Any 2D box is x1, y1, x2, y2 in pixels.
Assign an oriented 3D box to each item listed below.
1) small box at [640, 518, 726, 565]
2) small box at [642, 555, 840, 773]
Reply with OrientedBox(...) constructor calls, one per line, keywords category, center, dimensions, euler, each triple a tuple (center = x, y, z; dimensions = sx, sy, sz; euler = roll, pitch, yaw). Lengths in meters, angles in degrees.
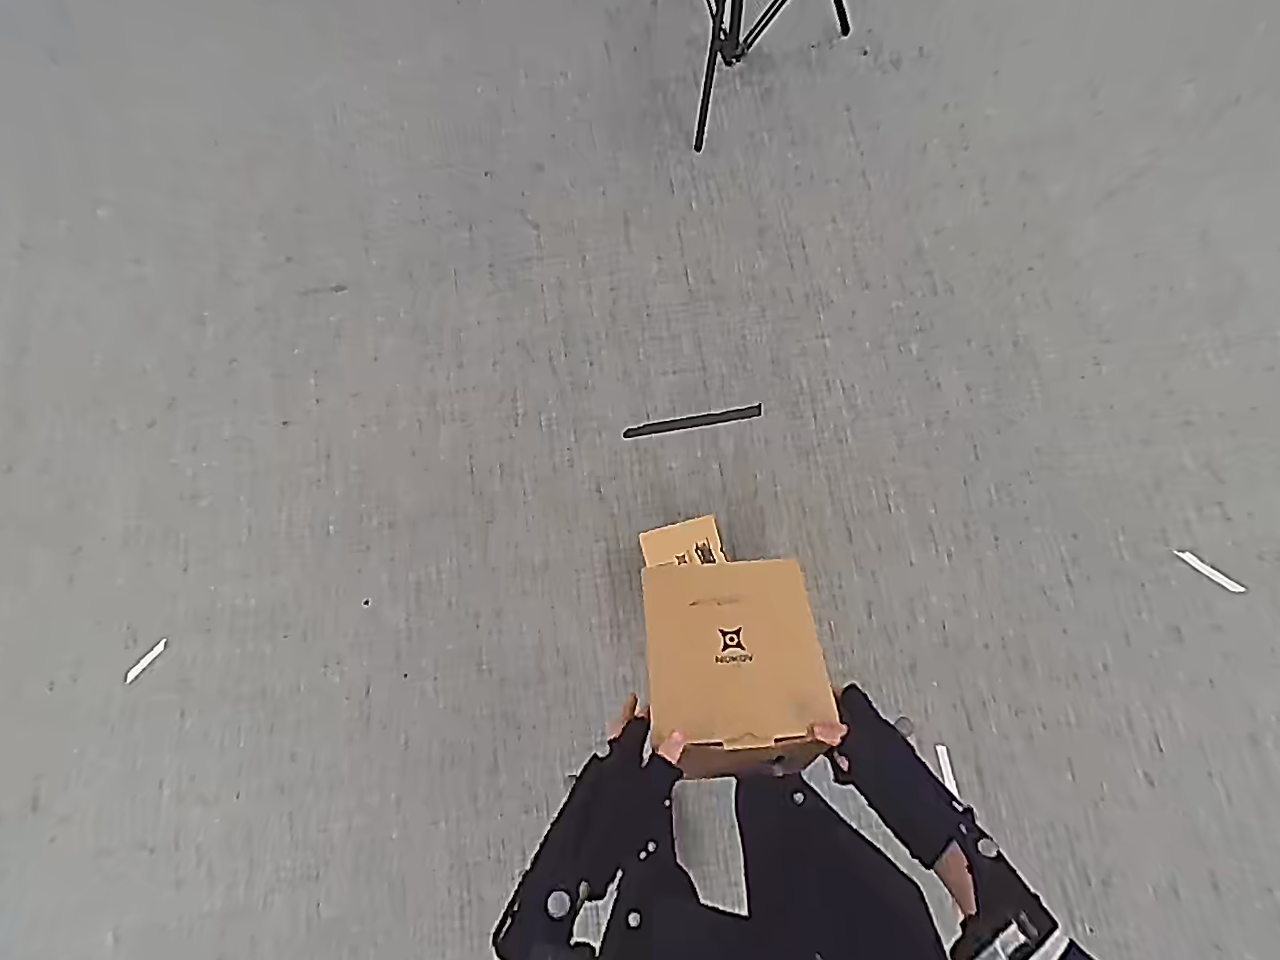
OrientedBox(category="small box", center=(0.106, 0.195, 1.258), dimensions=(0.179, 0.176, 0.168), euler=(-15, 78, 2))
OrientedBox(category="small box", center=(0.090, 0.201, 0.576), dimensions=(0.168, 0.176, 0.179), euler=(-4, 51, -2))
